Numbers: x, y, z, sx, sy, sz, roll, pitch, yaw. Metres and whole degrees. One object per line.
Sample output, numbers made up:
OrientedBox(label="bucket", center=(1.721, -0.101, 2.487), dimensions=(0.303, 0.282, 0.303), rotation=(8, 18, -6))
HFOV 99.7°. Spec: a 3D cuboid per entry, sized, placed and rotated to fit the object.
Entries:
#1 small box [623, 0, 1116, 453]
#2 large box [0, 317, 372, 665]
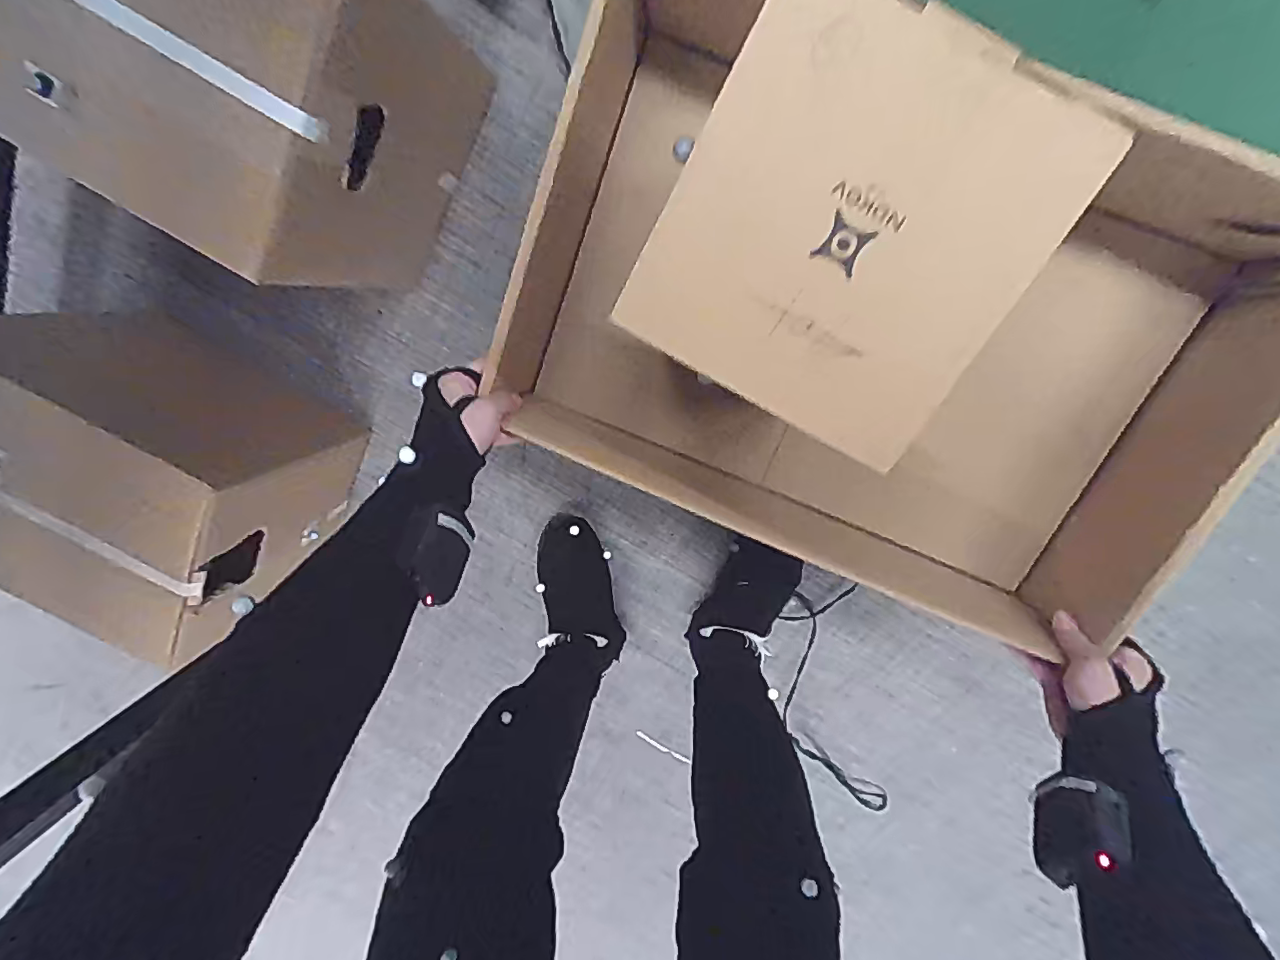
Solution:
OrientedBox(label="small box", center=(0.108, -0.148, 0.334), dimensions=(0.168, 0.176, 0.179), rotation=(29, 109, -2))
OrientedBox(label="large box", center=(-0.700, -0.010, 0.810), dimensions=(0.408, 0.320, 0.320), rotation=(28, 109, -2))
